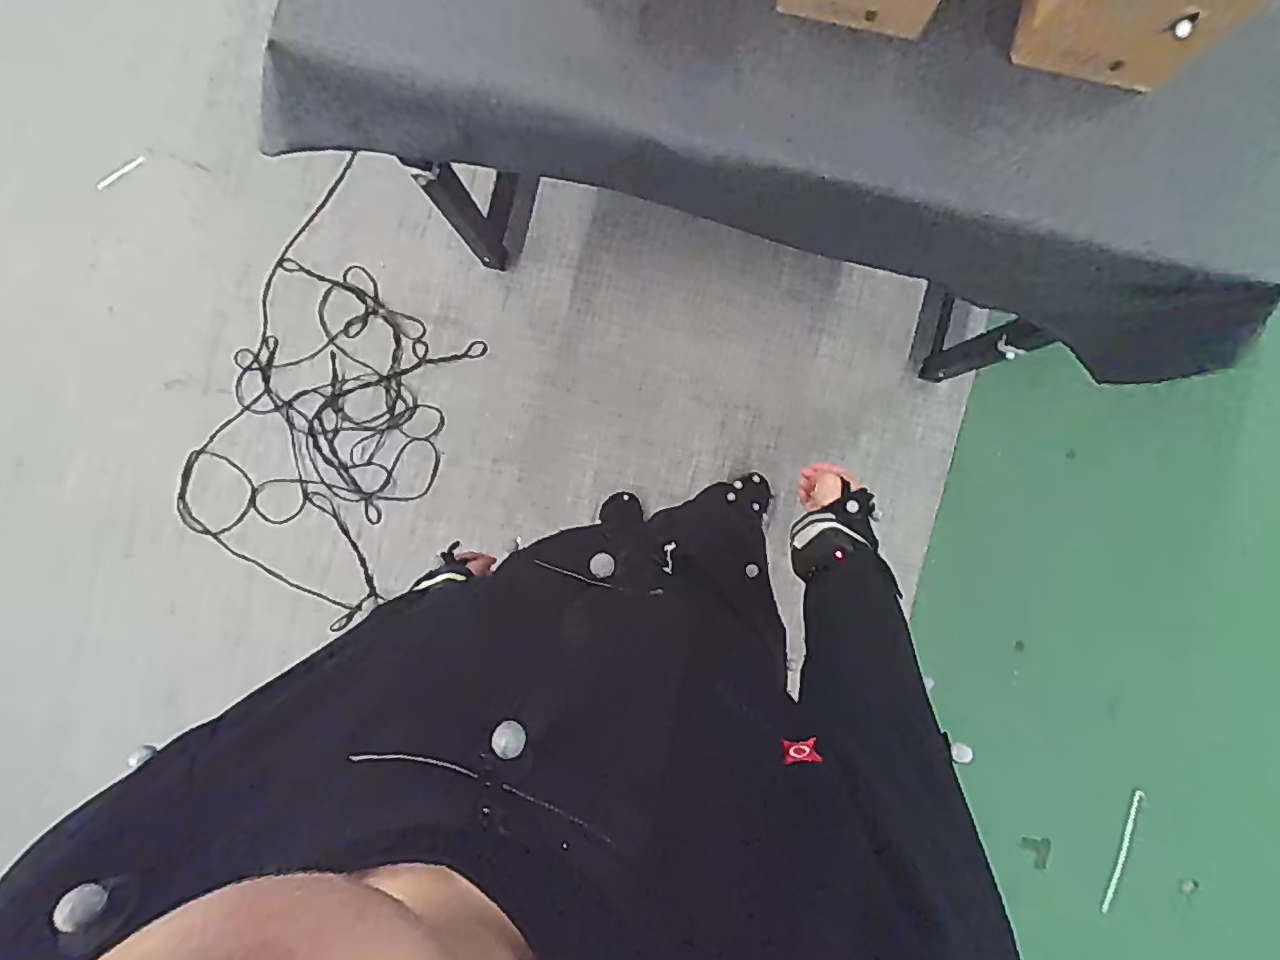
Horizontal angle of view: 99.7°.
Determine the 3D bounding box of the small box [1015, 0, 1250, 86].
[{"bbox_3d":[0.514,-0.540,0.532,0.168,0.176,0.179,13,89,0],"label":"small box"}]
